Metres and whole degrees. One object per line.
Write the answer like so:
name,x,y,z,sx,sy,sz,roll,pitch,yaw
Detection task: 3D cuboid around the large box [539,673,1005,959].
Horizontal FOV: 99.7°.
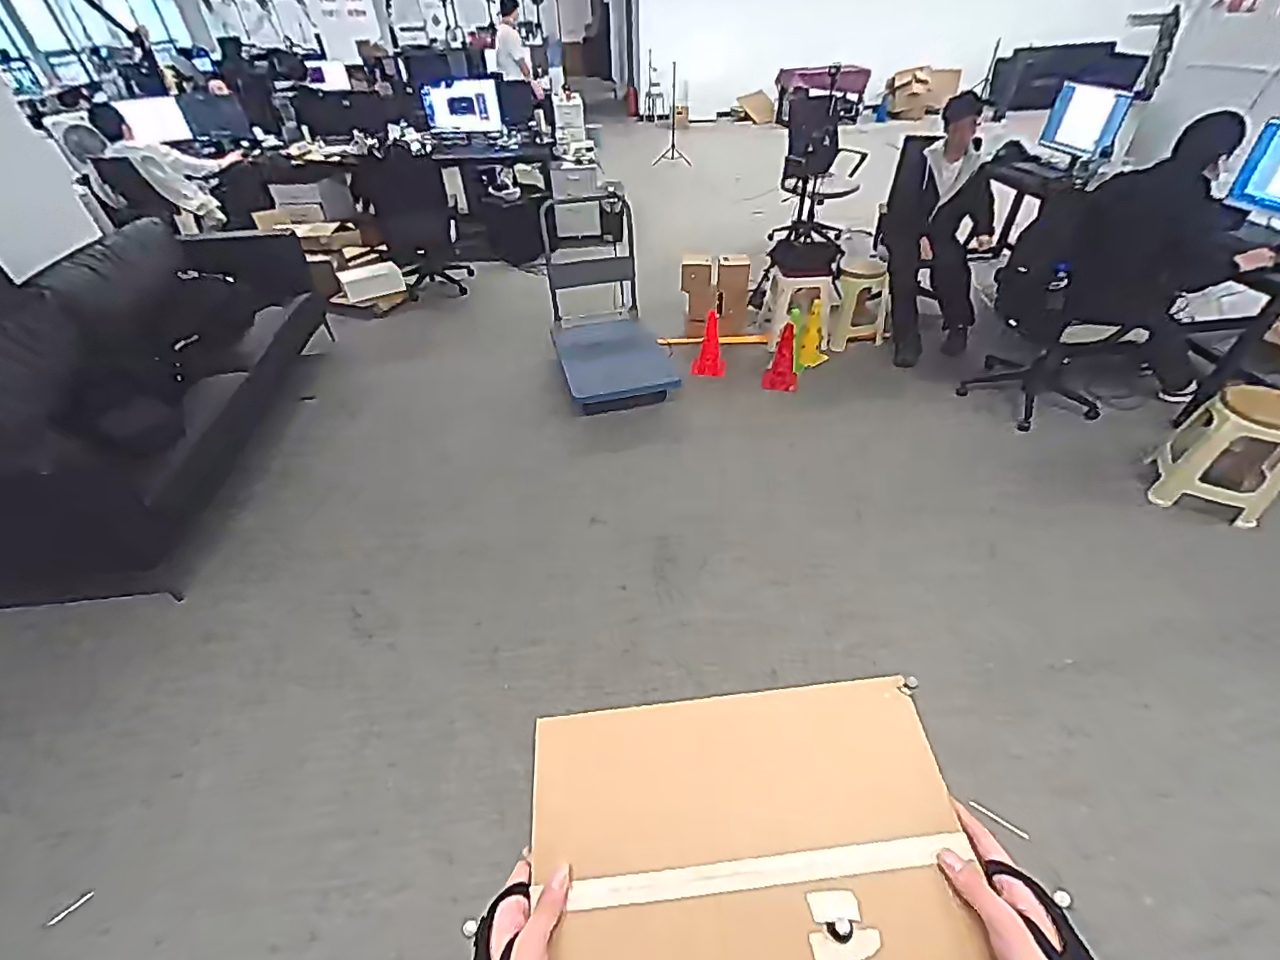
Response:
large box,0.111,0.454,0.624,0.408,0.320,0.320,-7,52,-1
